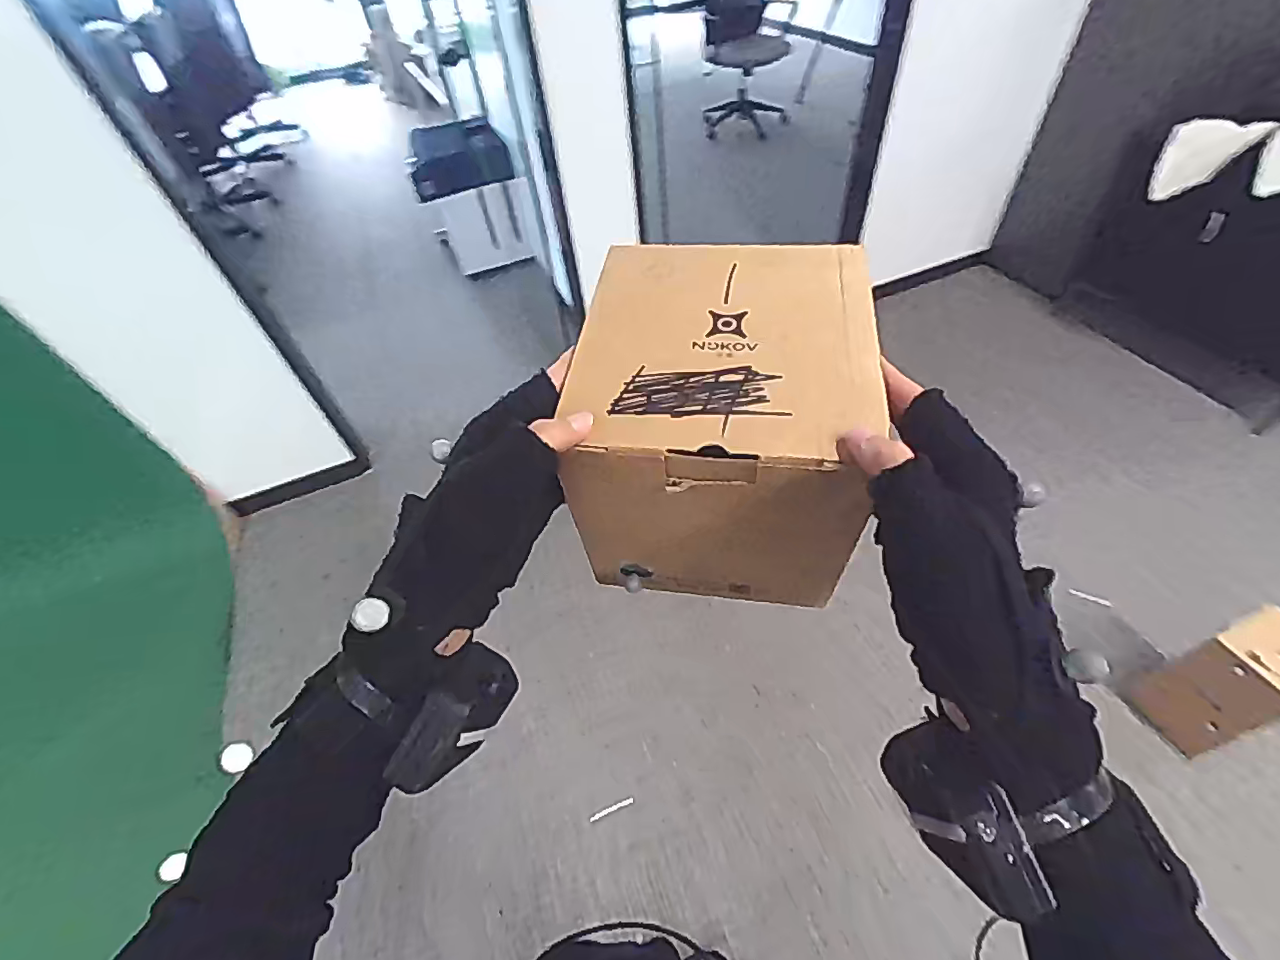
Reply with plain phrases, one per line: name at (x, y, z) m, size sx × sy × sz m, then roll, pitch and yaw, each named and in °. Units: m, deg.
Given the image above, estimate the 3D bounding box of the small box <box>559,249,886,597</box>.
small box at (0.060, -0.036, 0.376) m, size 0.168 × 0.176 × 0.179 m, roll 5°, pitch 55°, yaw 10°

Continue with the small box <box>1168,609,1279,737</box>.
small box at (1.280, 0.402, 1.124) m, size 0.179 × 0.176 × 0.168 m, roll -20°, pitch 50°, yaw -11°

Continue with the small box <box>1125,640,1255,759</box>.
small box at (1.295, 0.508, 1.248) m, size 0.168 × 0.176 × 0.179 m, roll -20°, pitch 50°, yaw -11°
